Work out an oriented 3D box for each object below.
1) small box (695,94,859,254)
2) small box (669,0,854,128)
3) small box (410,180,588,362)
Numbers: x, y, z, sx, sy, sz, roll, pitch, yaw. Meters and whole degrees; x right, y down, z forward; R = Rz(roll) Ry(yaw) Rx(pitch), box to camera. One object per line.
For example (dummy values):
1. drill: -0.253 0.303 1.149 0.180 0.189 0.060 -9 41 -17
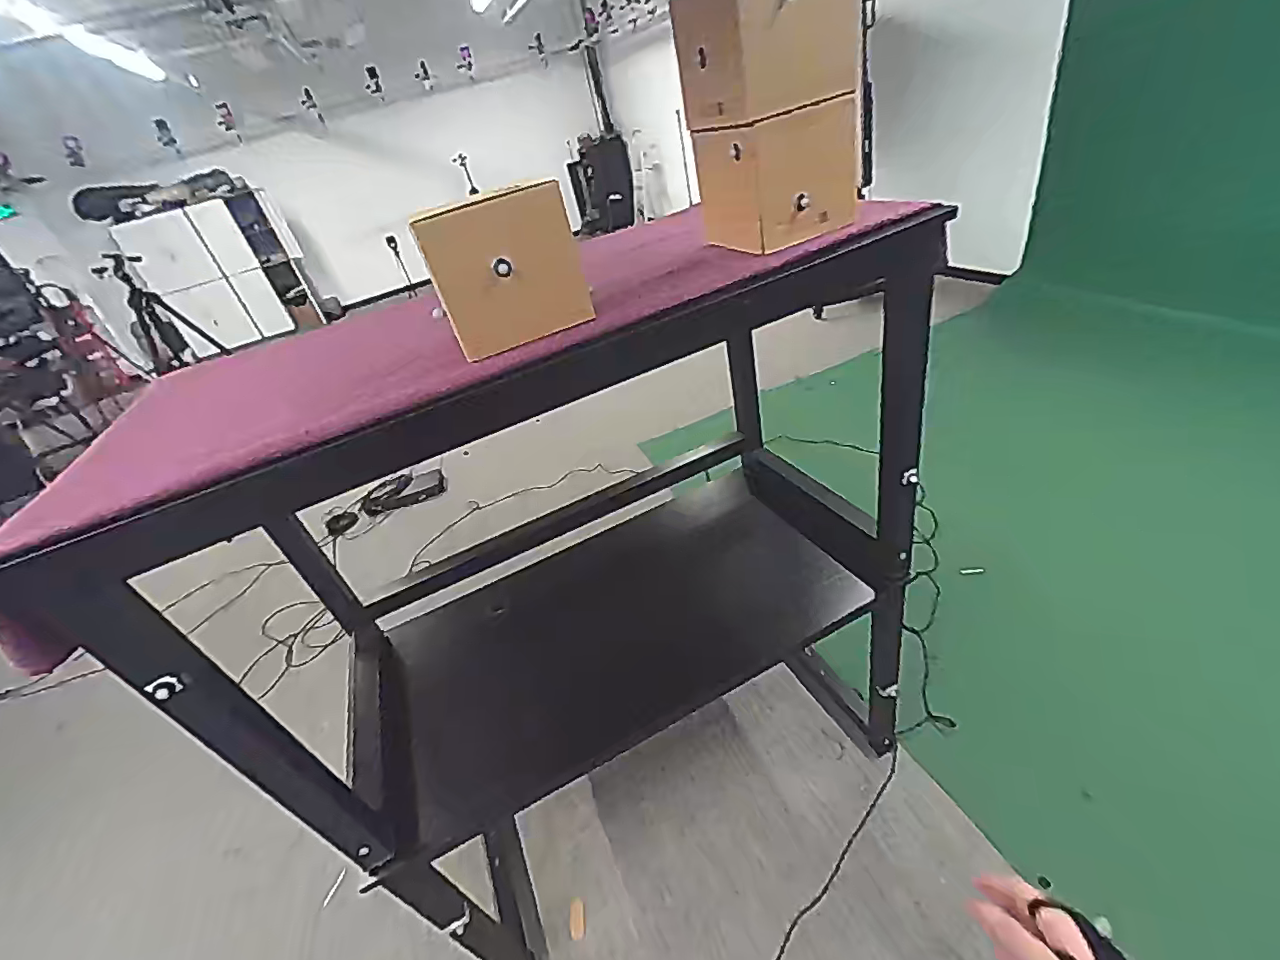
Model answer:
1. small box: 0.202 -0.453 0.812 0.168 0.176 0.179 -24 36 -12
2. small box: 0.163 -0.578 0.711 0.179 0.176 0.168 -24 36 -12
3. small box: -0.180 -0.278 0.712 0.179 0.176 0.168 -24 34 -11
